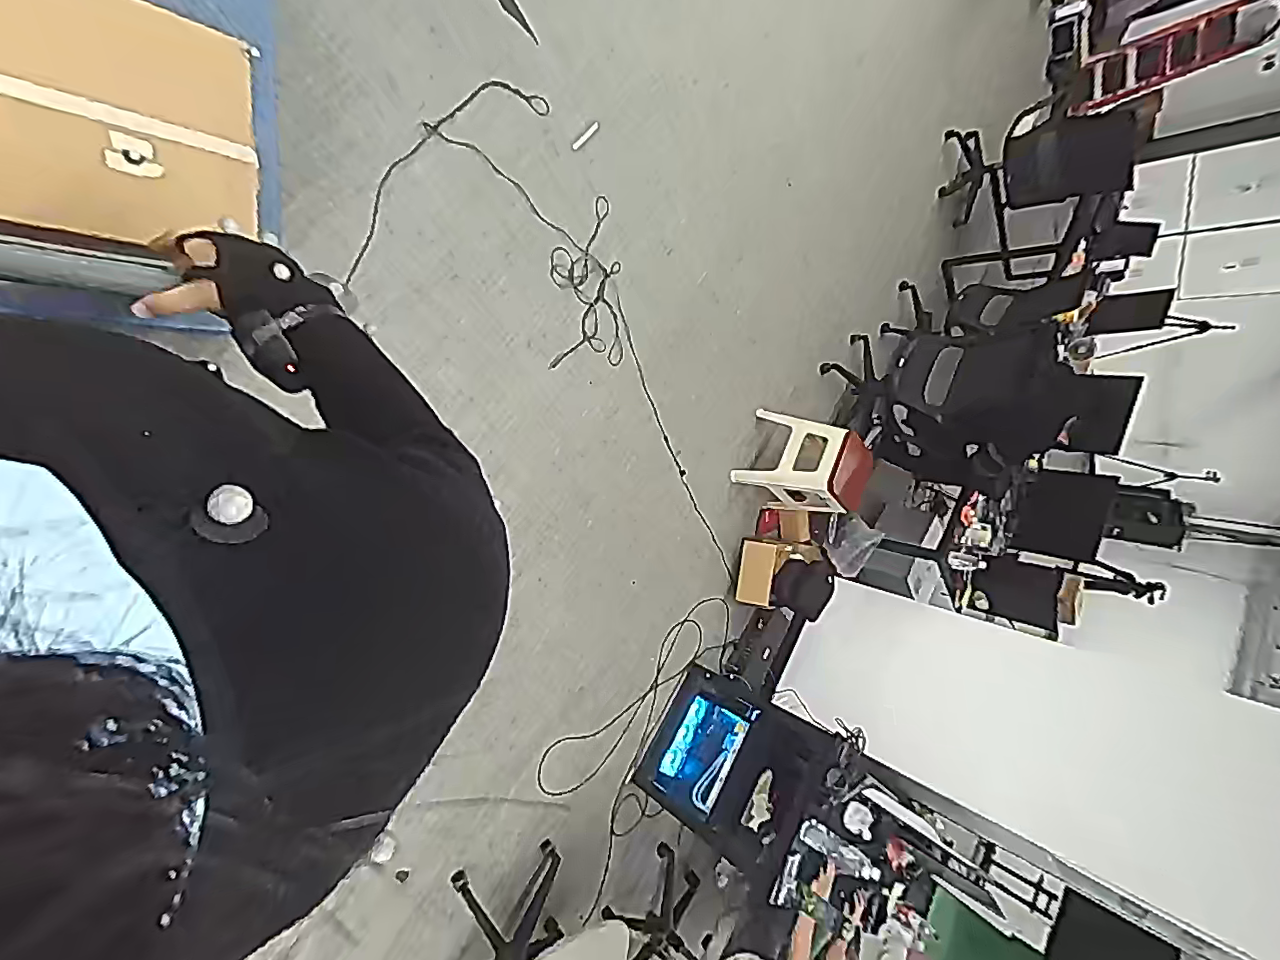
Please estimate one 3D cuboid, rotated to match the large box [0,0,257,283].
[{"bbox_3d":[-0.838,-0.495,0.785,0.408,0.320,0.320,-5,103,-45],"label":"large box"}]
